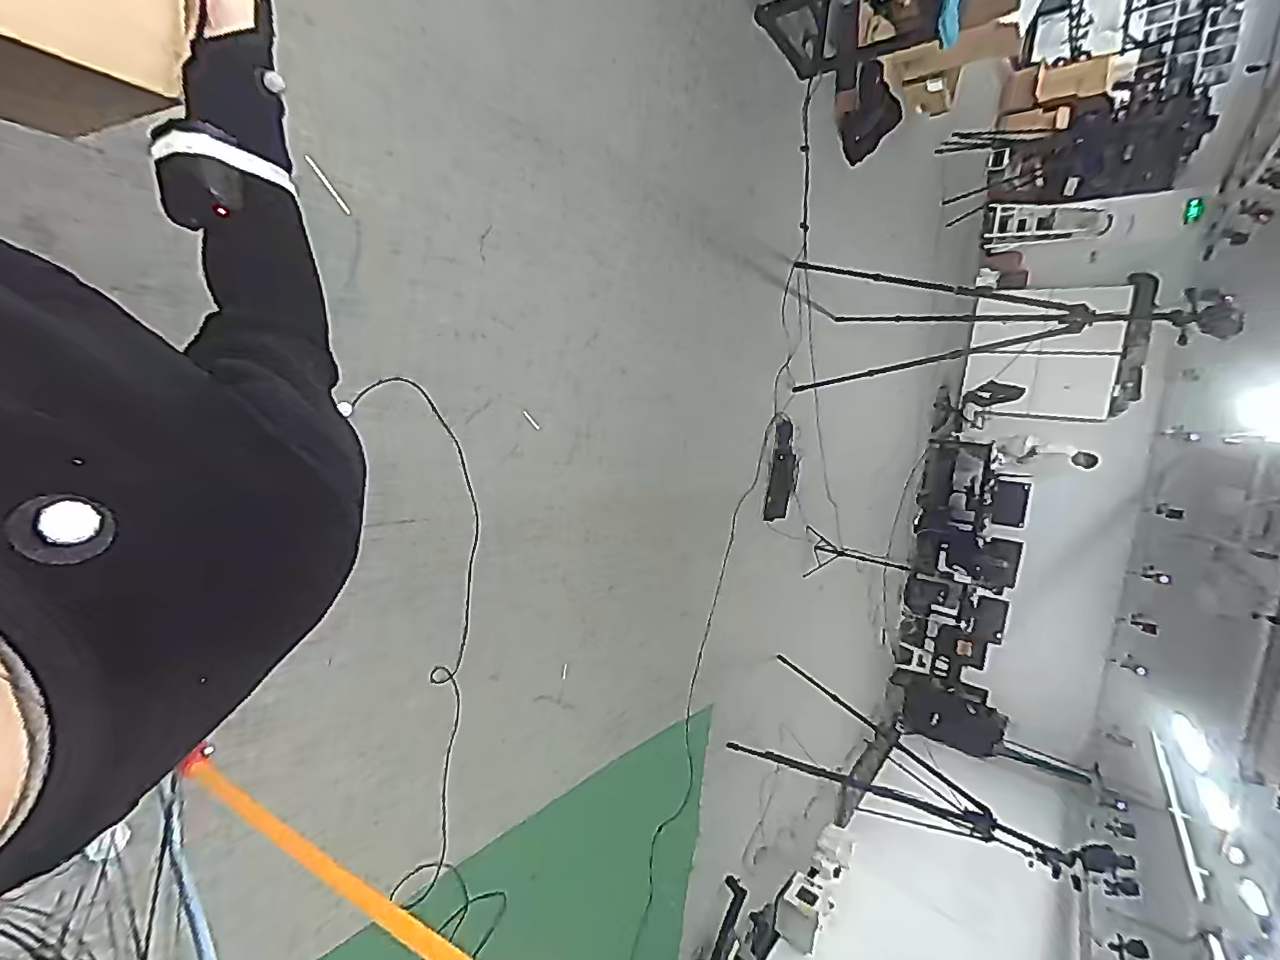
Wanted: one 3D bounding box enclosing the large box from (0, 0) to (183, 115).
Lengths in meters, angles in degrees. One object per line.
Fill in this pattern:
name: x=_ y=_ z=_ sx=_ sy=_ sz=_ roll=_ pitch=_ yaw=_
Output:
large box: x=-0.569 y=-0.466 z=0.304 sx=0.408 sy=0.320 sz=0.320 roll=-12 pitch=113 yaw=-55
